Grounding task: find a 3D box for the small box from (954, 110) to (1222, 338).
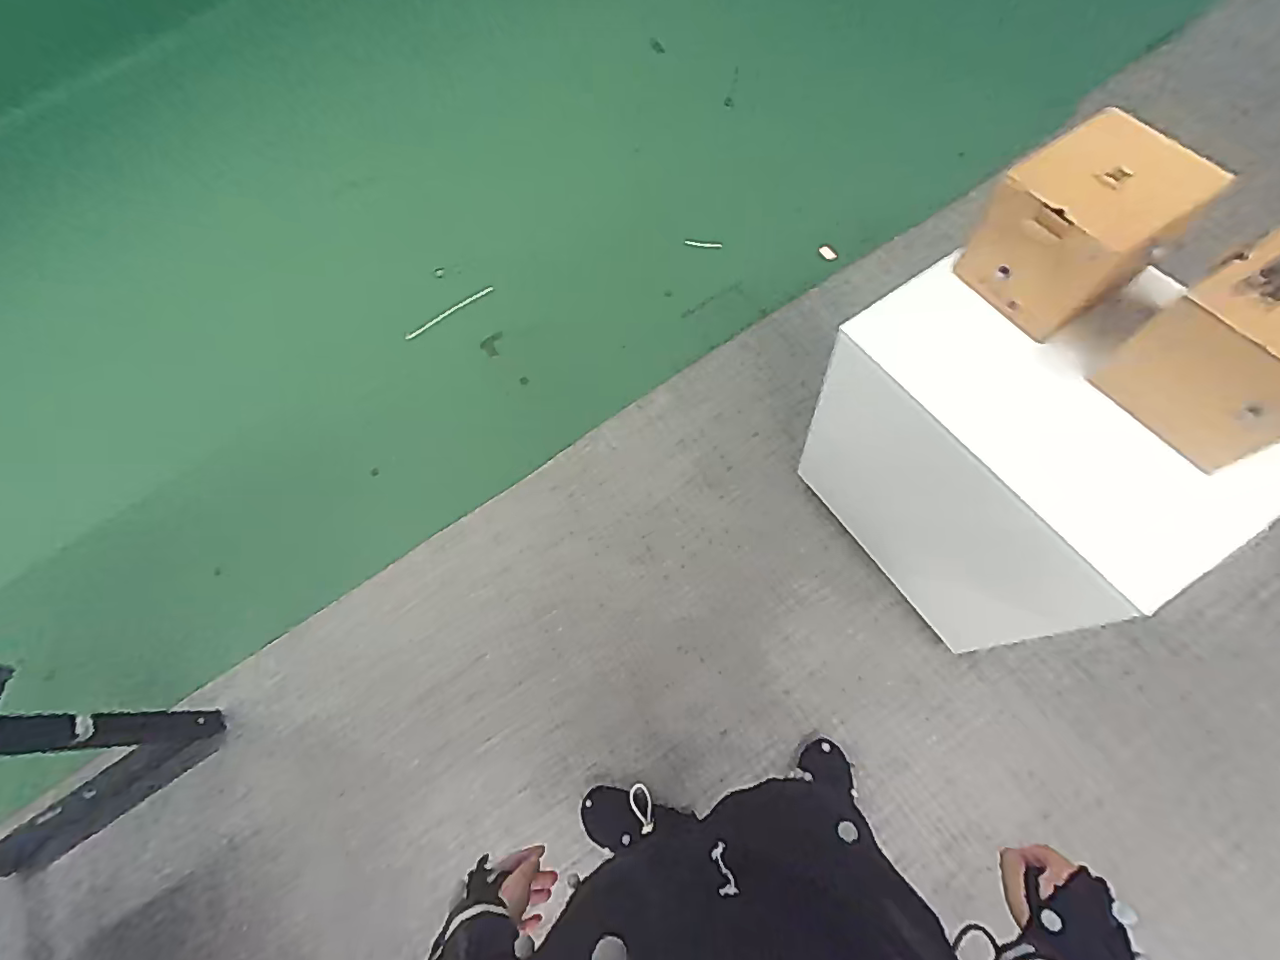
[{"bbox_3d":[0.564,-0.327,0.713,0.179,0.176,0.168,-33,68,-4],"label":"small box"}]
